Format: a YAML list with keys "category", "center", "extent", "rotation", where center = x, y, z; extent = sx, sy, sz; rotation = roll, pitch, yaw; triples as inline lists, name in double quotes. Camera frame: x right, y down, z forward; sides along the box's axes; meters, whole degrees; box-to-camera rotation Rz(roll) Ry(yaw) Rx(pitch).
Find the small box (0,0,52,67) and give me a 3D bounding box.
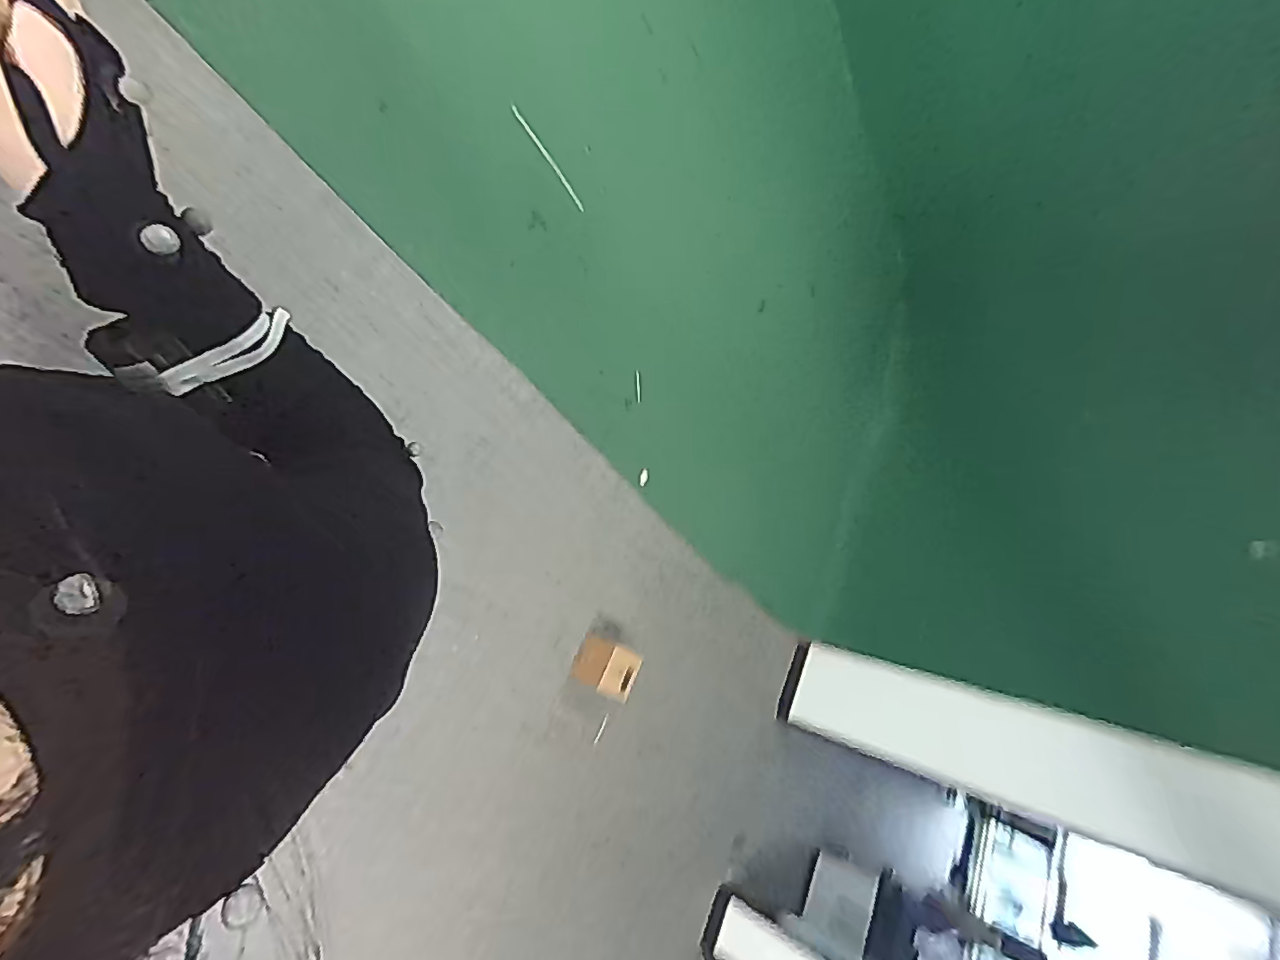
- category: "small box"
  center: [-0.357, -0.305, 0.198]
  extent: [0.168, 0.176, 0.179]
  rotation: [-5, 138, -37]
